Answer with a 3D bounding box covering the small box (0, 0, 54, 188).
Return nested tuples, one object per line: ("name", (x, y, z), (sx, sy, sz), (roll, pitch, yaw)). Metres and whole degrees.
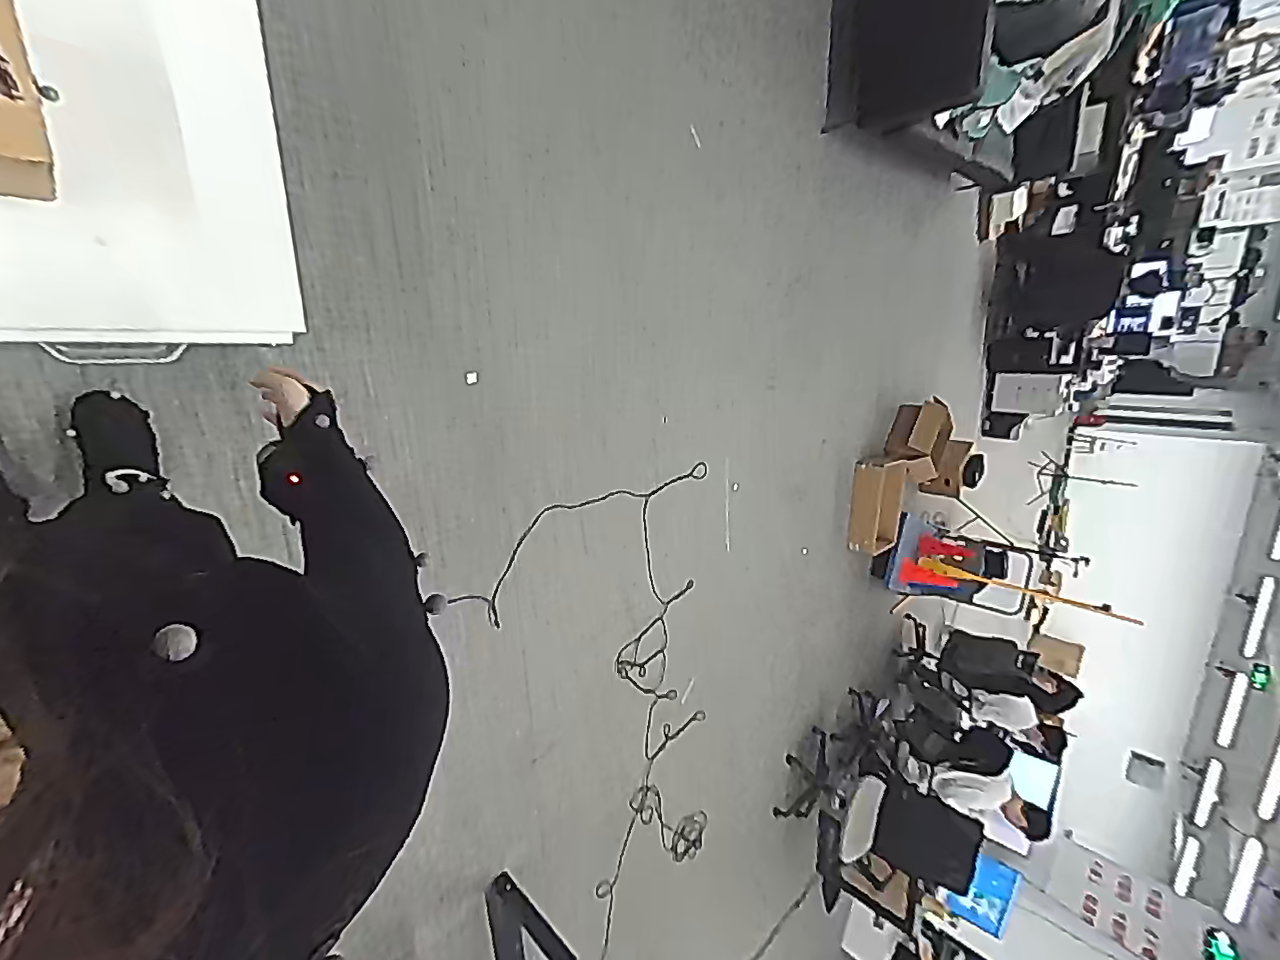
("small box", (-0.635, -0.359, 0.449), (0.179, 0.176, 0.168), (-15, 111, -43))
